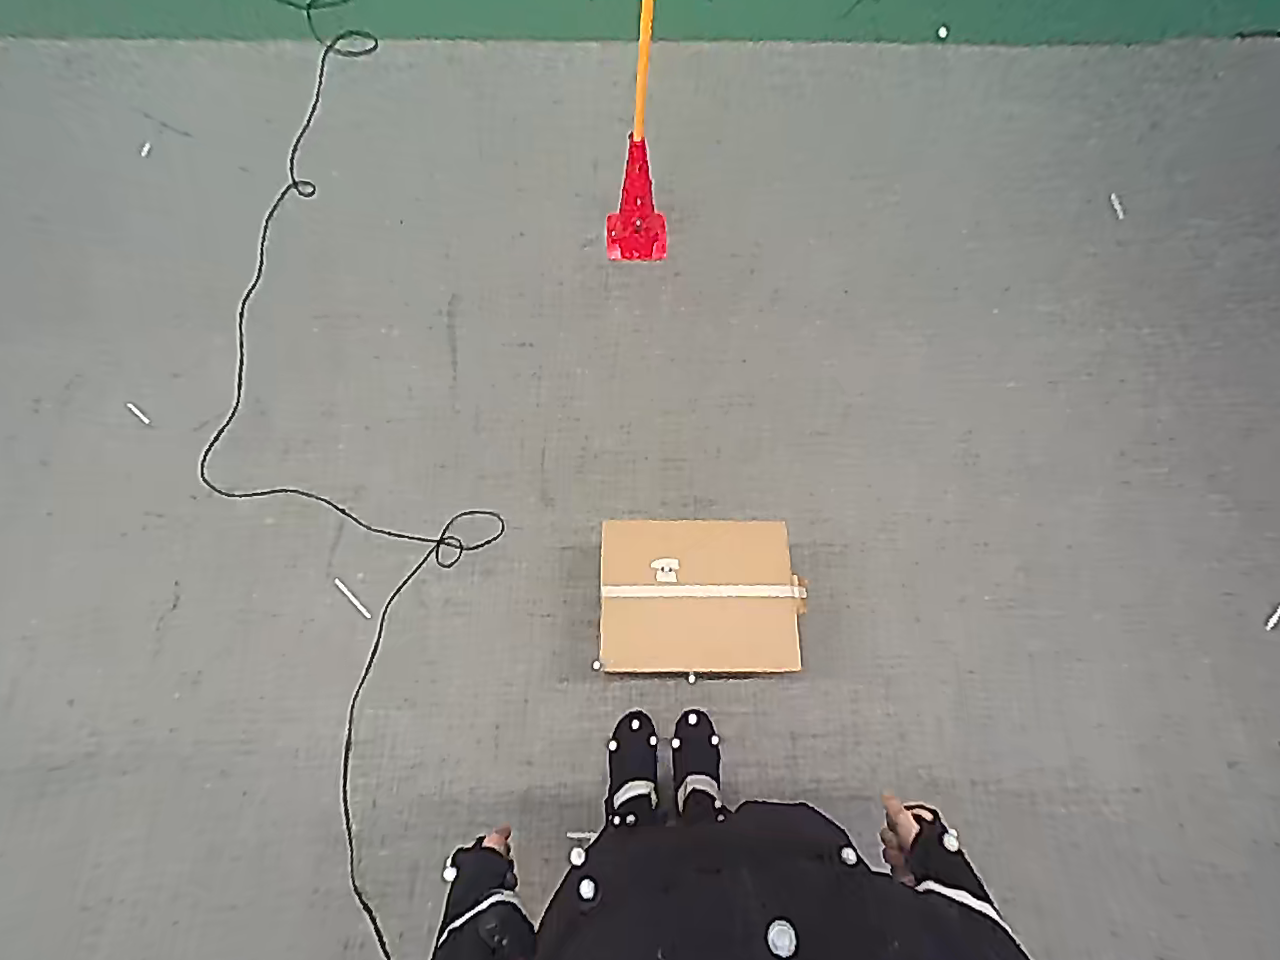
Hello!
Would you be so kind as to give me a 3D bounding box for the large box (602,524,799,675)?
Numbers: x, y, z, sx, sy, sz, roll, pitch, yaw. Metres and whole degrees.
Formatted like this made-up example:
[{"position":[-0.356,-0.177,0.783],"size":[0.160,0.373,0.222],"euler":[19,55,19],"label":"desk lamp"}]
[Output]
[{"position":[0.122,0.292,1.271],"size":[0.408,0.320,0.320],"euler":[0,69,0],"label":"large box"}]
